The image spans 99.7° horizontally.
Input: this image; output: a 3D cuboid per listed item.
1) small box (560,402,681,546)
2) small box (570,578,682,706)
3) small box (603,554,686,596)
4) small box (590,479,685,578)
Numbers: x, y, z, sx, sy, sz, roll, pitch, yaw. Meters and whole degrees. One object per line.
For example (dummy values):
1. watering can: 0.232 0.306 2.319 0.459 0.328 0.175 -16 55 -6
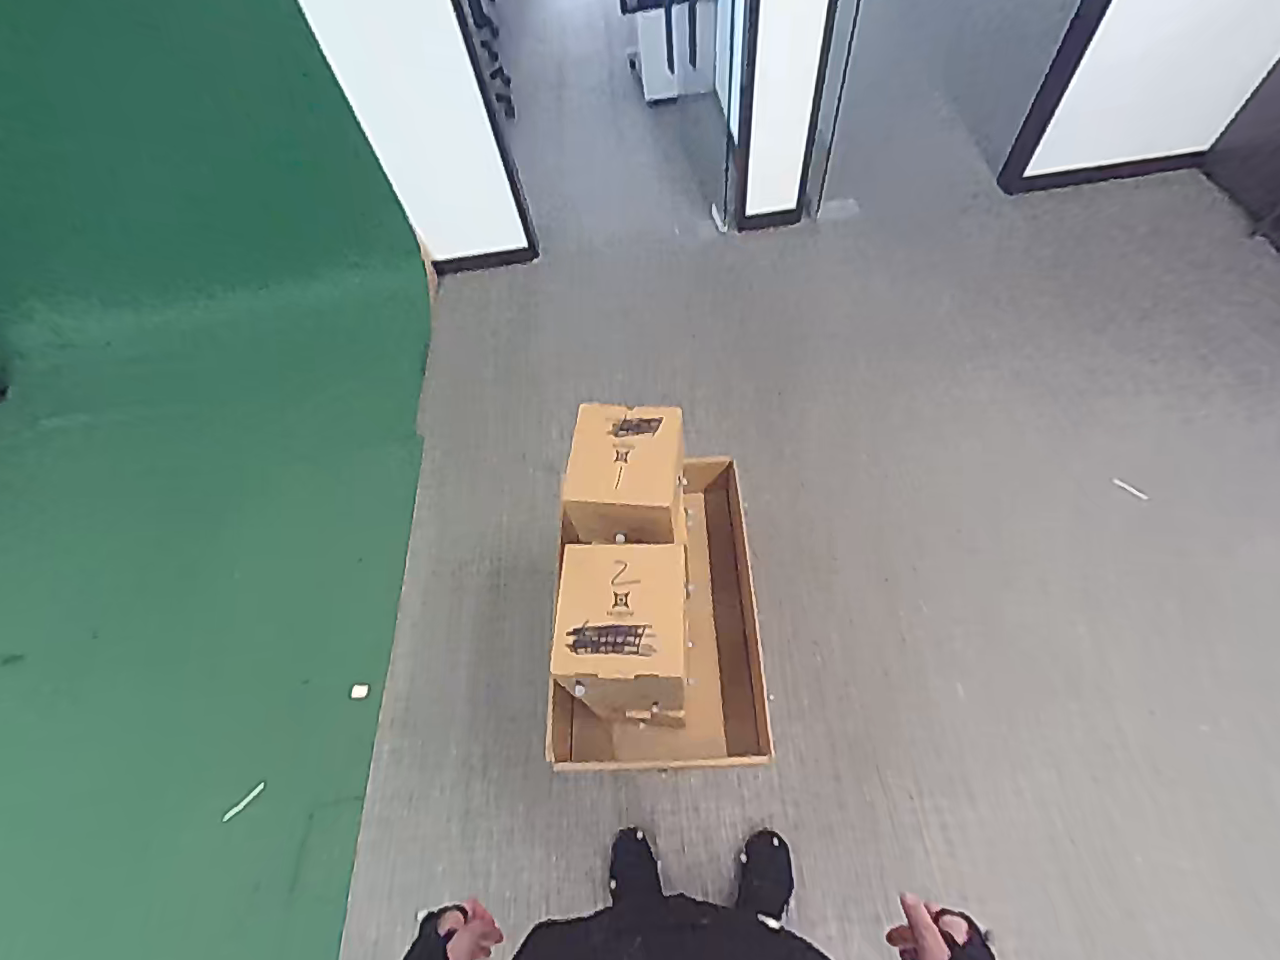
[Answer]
1. small box: -0.022 -0.007 0.895 0.168 0.176 0.179 4 63 8
2. small box: -0.013 0.279 0.915 0.168 0.176 0.179 0 59 5
3. small box: 0.012 0.150 1.178 0.168 0.176 0.179 -5 61 4
4. small box: -0.003 0.075 1.036 0.168 0.176 0.179 -4 62 3
